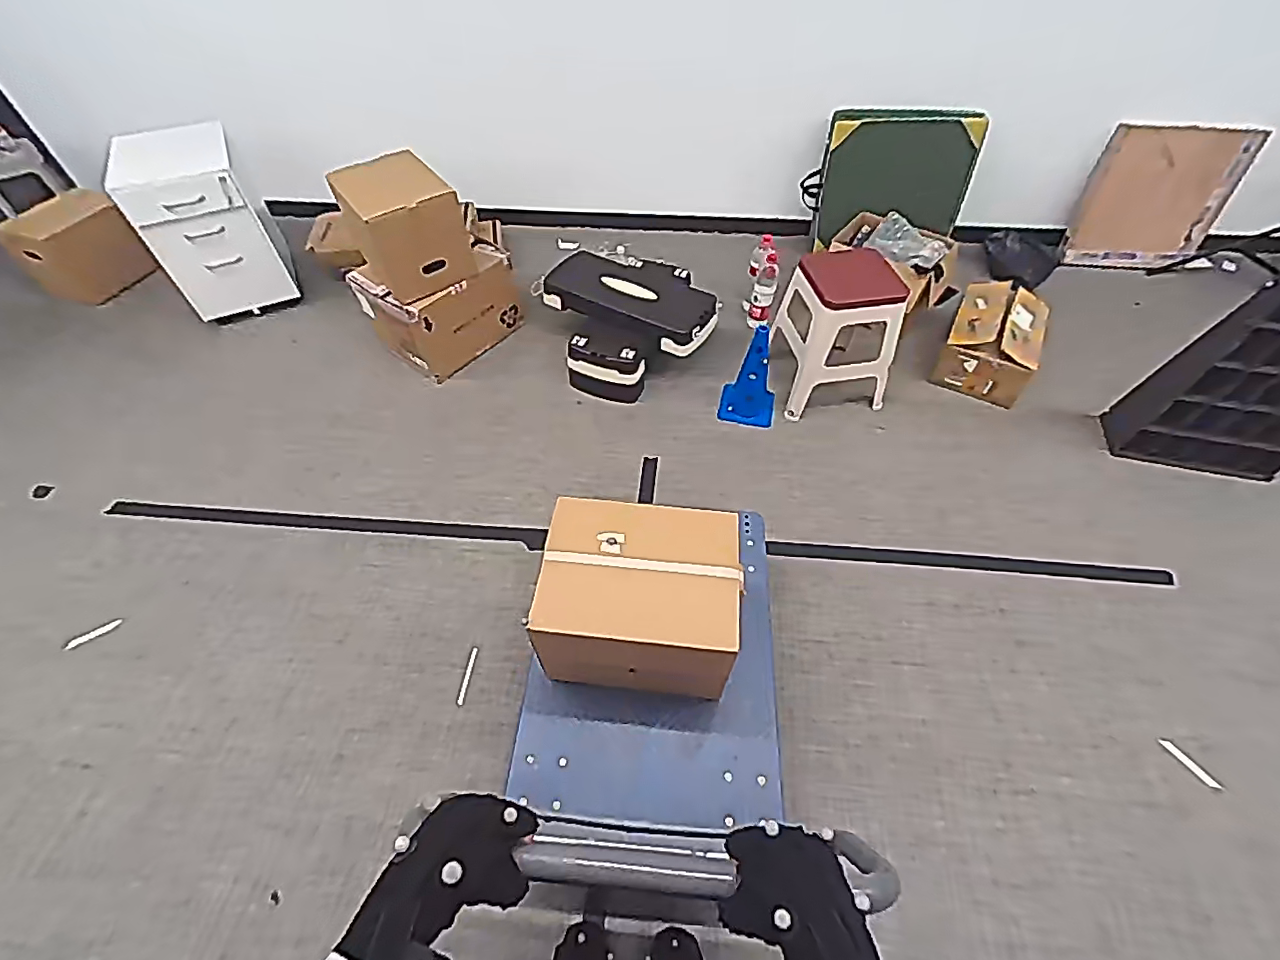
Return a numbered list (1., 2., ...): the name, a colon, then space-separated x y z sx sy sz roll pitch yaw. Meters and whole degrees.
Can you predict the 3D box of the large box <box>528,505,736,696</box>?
1. large box: -0.001 0.279 1.227 0.408 0.320 0.320 5 52 4
